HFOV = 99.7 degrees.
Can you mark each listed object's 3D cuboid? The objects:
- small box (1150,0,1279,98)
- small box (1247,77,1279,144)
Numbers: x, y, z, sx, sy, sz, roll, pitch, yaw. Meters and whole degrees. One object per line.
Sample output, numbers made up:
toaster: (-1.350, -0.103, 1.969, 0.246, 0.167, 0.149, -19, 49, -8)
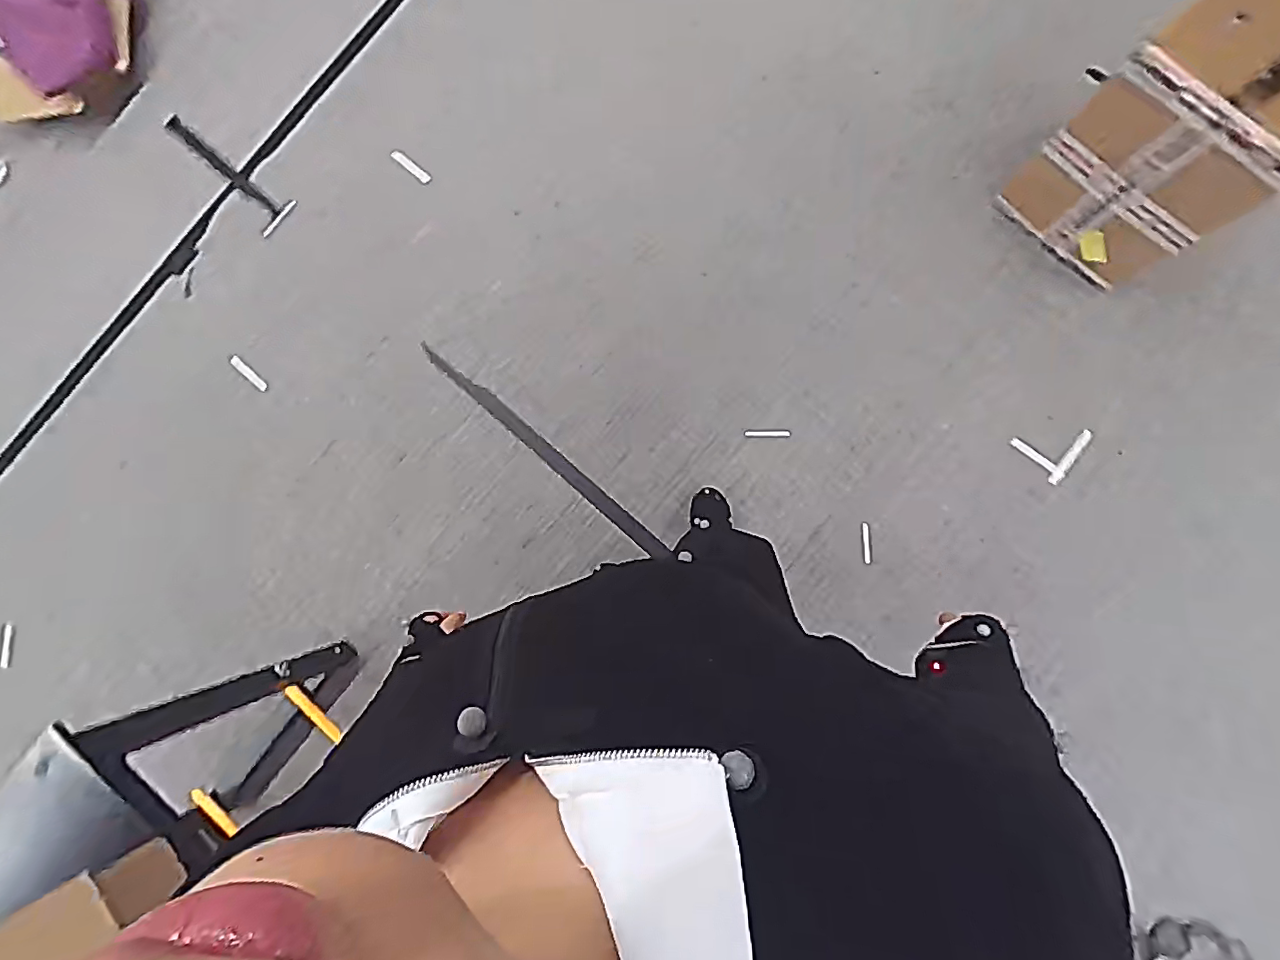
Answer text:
small box: (1.100, -0.836, 0.967, 0.168, 0.176, 0.179, -42, 82, 1)
small box: (1.261, -0.695, 0.944, 0.179, 0.176, 0.168, 39, 90, 6)
